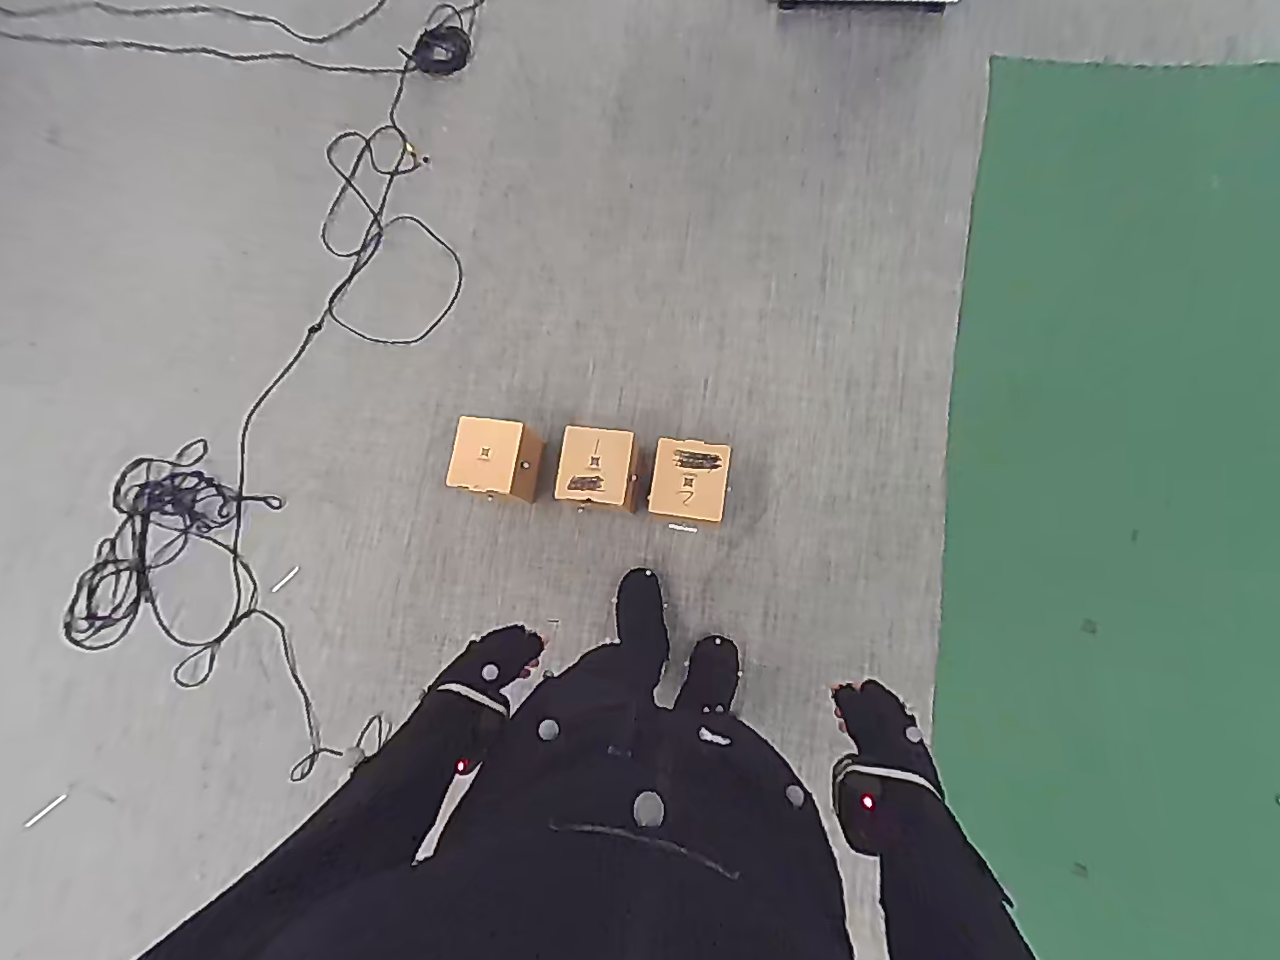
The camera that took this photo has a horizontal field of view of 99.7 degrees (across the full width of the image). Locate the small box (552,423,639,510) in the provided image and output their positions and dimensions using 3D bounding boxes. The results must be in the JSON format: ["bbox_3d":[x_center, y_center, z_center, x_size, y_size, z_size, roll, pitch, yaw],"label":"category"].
[{"bbox_3d":[-0.101,-0.027,1.330,0.168,0.176,0.179,7,80,10],"label":"small box"}]

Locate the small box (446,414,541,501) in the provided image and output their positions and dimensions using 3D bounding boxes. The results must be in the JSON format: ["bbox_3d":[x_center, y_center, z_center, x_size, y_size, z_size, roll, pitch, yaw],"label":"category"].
[{"bbox_3d":[-0.362,-0.054,1.376,0.168,0.176,0.179,7,81,10],"label":"small box"}]
